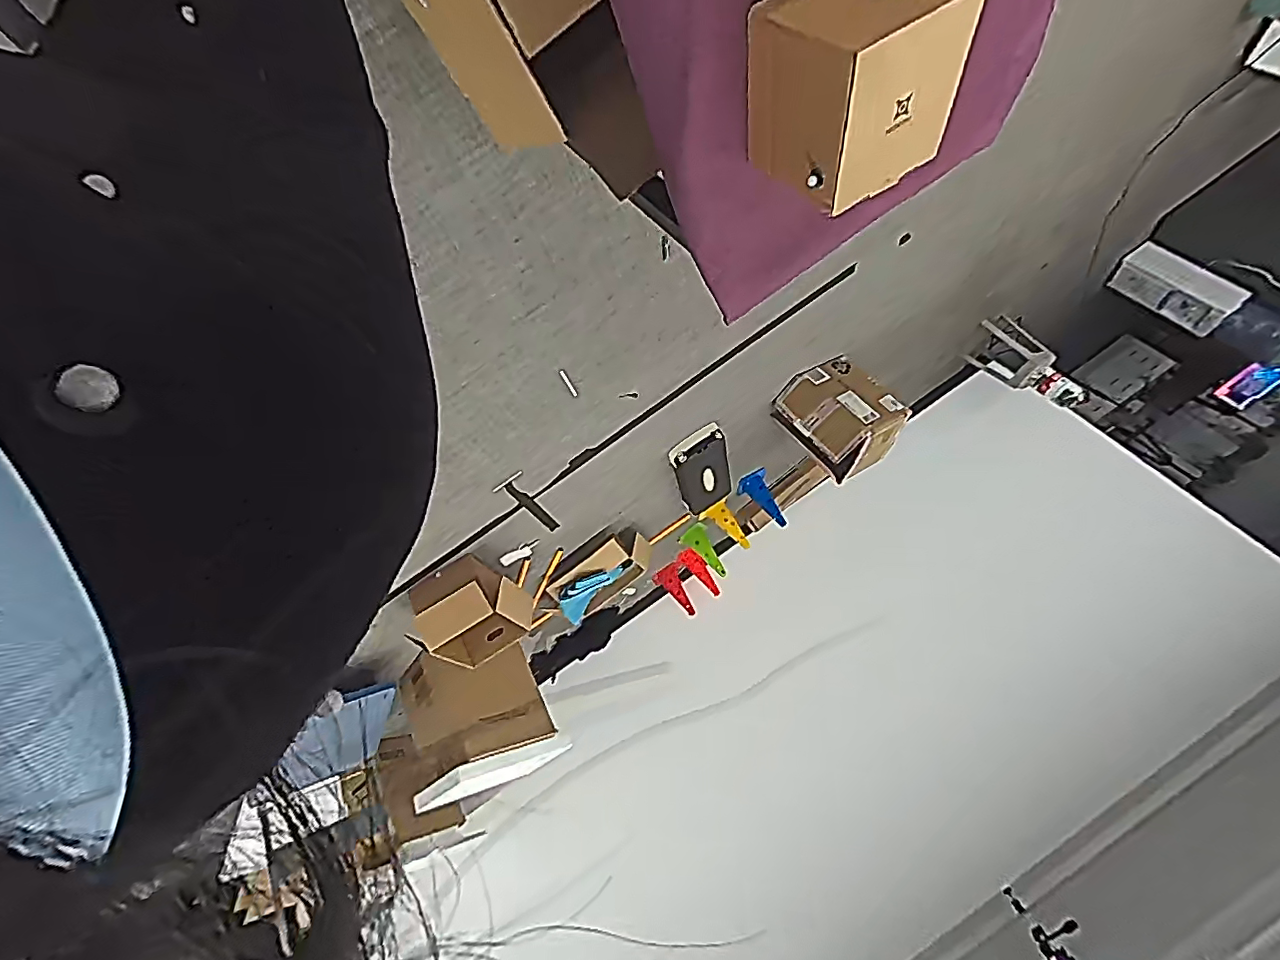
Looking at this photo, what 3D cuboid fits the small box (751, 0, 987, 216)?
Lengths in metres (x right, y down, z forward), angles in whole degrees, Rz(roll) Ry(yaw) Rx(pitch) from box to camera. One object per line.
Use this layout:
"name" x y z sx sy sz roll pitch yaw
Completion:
"small box" 0.242 -0.453 0.621 0.168 0.176 0.179 -33 151 -7
